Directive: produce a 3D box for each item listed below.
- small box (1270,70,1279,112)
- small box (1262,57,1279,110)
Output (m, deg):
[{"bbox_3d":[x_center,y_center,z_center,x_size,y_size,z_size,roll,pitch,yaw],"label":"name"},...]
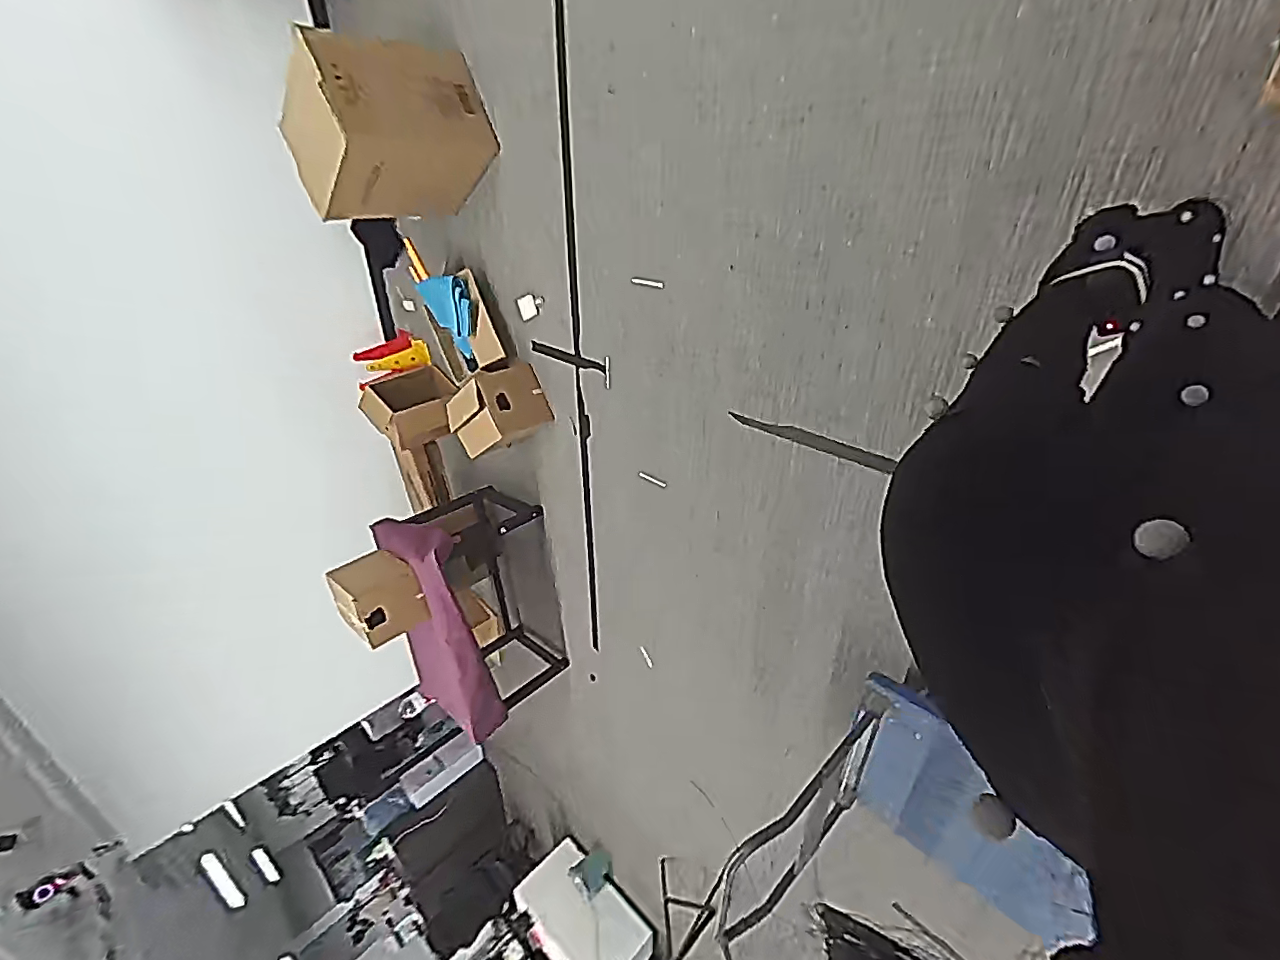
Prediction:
[{"bbox_3d":[0.938,-0.569,0.667,0.168,0.176,0.179,29,128,35],"label":"small box"},{"bbox_3d":[1.047,-0.641,0.768,0.179,0.176,0.168,23,125,40],"label":"small box"}]
